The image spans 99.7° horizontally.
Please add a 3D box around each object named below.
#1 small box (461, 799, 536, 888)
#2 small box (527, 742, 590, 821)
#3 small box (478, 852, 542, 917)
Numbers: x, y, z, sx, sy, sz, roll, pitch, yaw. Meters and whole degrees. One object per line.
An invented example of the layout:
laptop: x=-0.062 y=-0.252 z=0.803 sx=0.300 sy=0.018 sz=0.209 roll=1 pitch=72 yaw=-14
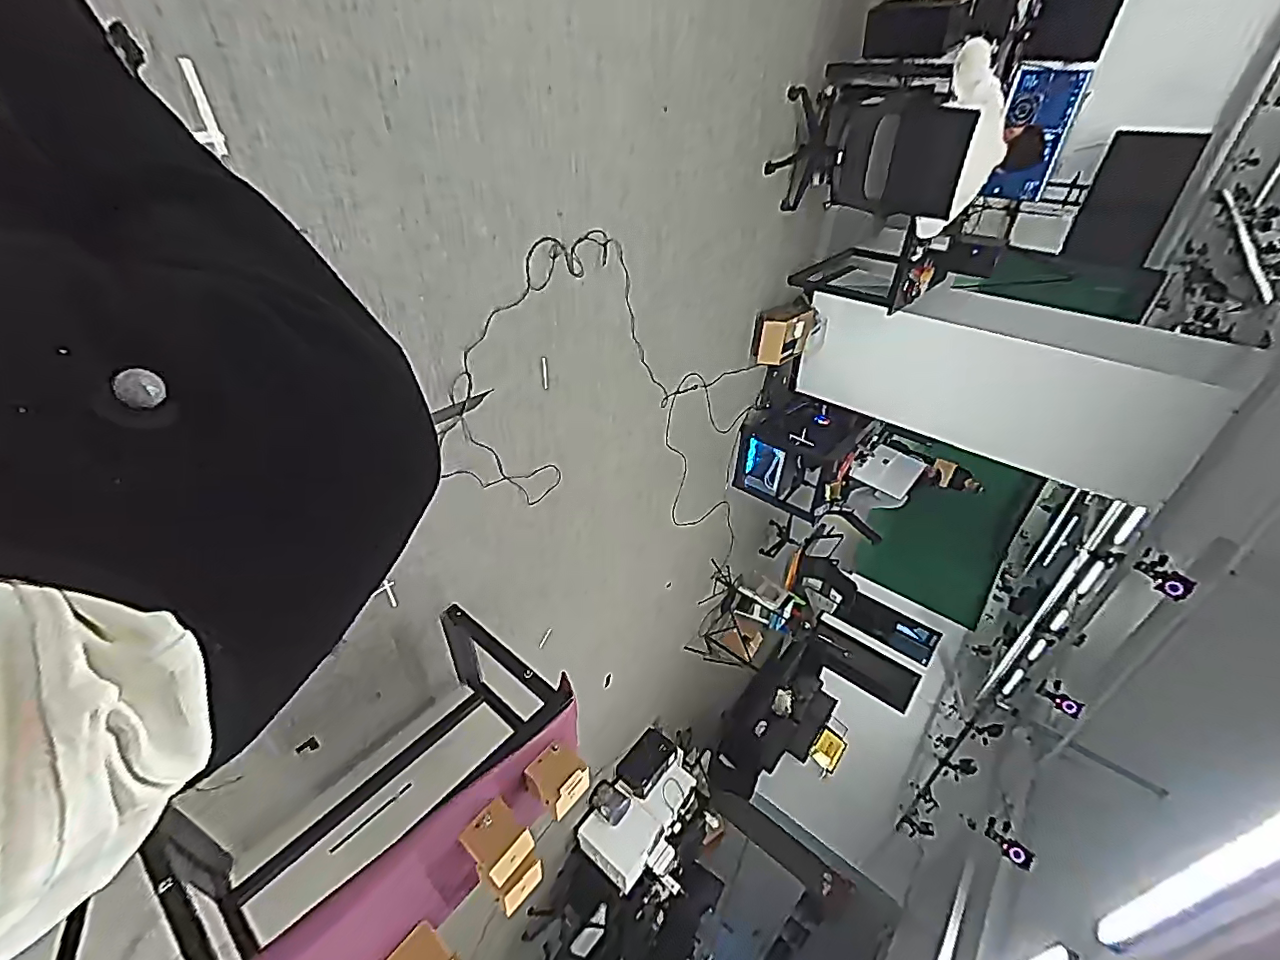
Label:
small box: x=-0.484 y=1.237 z=1.849 sx=0.168 sy=0.176 sz=0.179 roll=-39 pitch=143 yaw=-36
small box: x=-0.307 y=1.118 z=2.021 sx=0.168 sy=0.176 sz=0.179 roll=-36 pitch=142 yaw=-38
small box: x=-0.484 y=1.464 z=2.019 sx=0.168 sy=0.176 sz=0.179 roll=-32 pitch=137 yaw=-41
